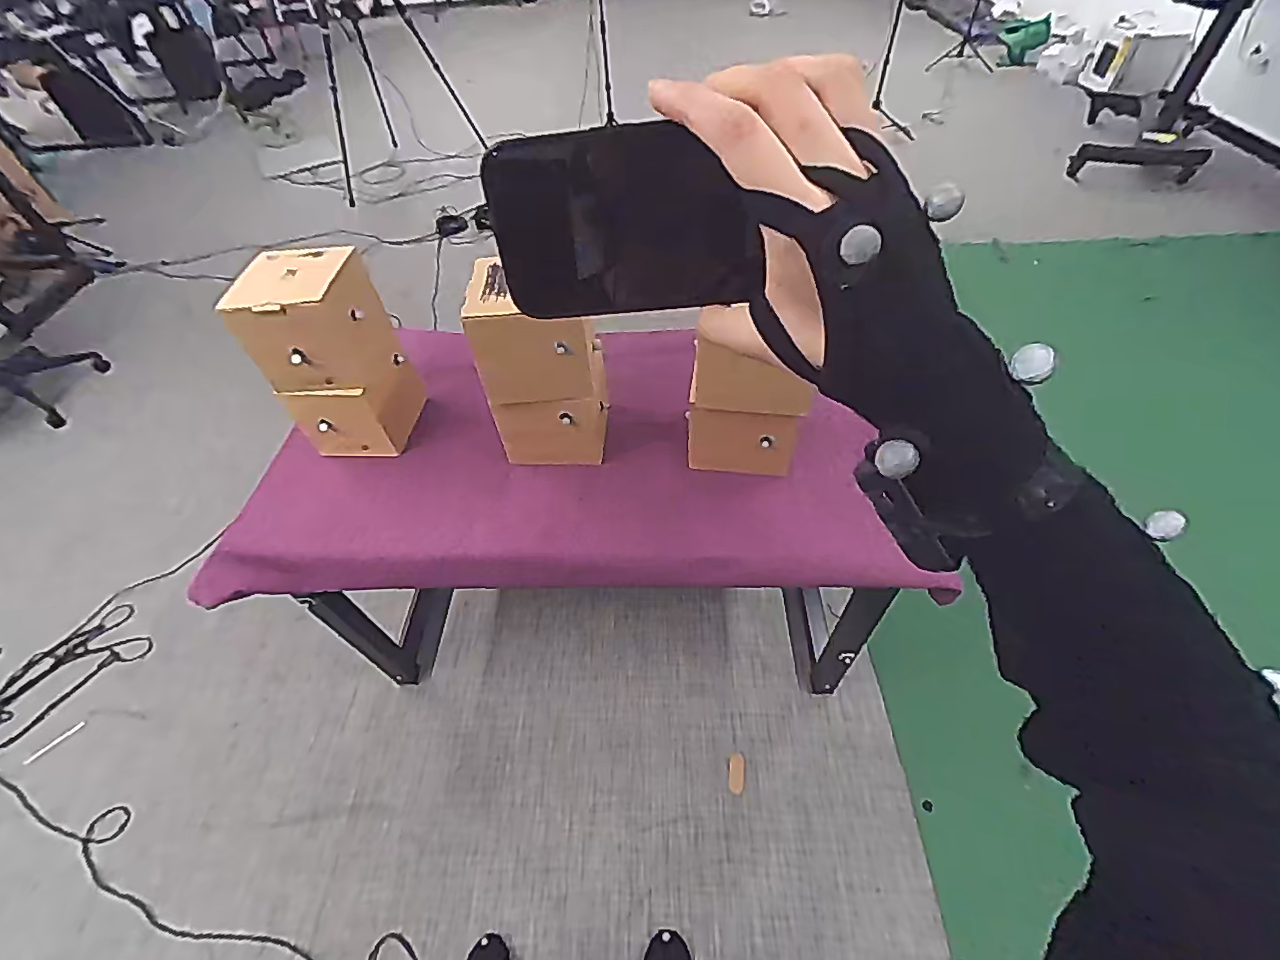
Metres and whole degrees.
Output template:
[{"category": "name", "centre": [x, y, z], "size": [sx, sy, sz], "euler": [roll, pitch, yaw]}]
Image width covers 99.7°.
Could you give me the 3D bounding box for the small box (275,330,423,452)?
[{"category": "small box", "centre": [-0.549, -0.171, 1.052], "size": [0.168, 0.176, 0.179], "euler": [2, 51, 5]}]

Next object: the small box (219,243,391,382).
[{"category": "small box", "centre": [-0.556, -0.281, 0.930], "size": [0.168, 0.176, 0.179], "euler": [-2, 52, 1]}]

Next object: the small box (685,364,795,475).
[{"category": "small box", "centre": [0.178, -0.127, 0.971], "size": [0.179, 0.176, 0.168], "euler": [6, 51, 9]}]

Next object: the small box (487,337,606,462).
[{"category": "small box", "centre": [-0.161, -0.146, 1.006], "size": [0.179, 0.176, 0.168], "euler": [1, 51, 5]}]

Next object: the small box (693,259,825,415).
[{"category": "small box", "centre": [0.177, -0.218, 0.834], "size": [0.179, 0.176, 0.168], "euler": [6, 51, 8]}]
